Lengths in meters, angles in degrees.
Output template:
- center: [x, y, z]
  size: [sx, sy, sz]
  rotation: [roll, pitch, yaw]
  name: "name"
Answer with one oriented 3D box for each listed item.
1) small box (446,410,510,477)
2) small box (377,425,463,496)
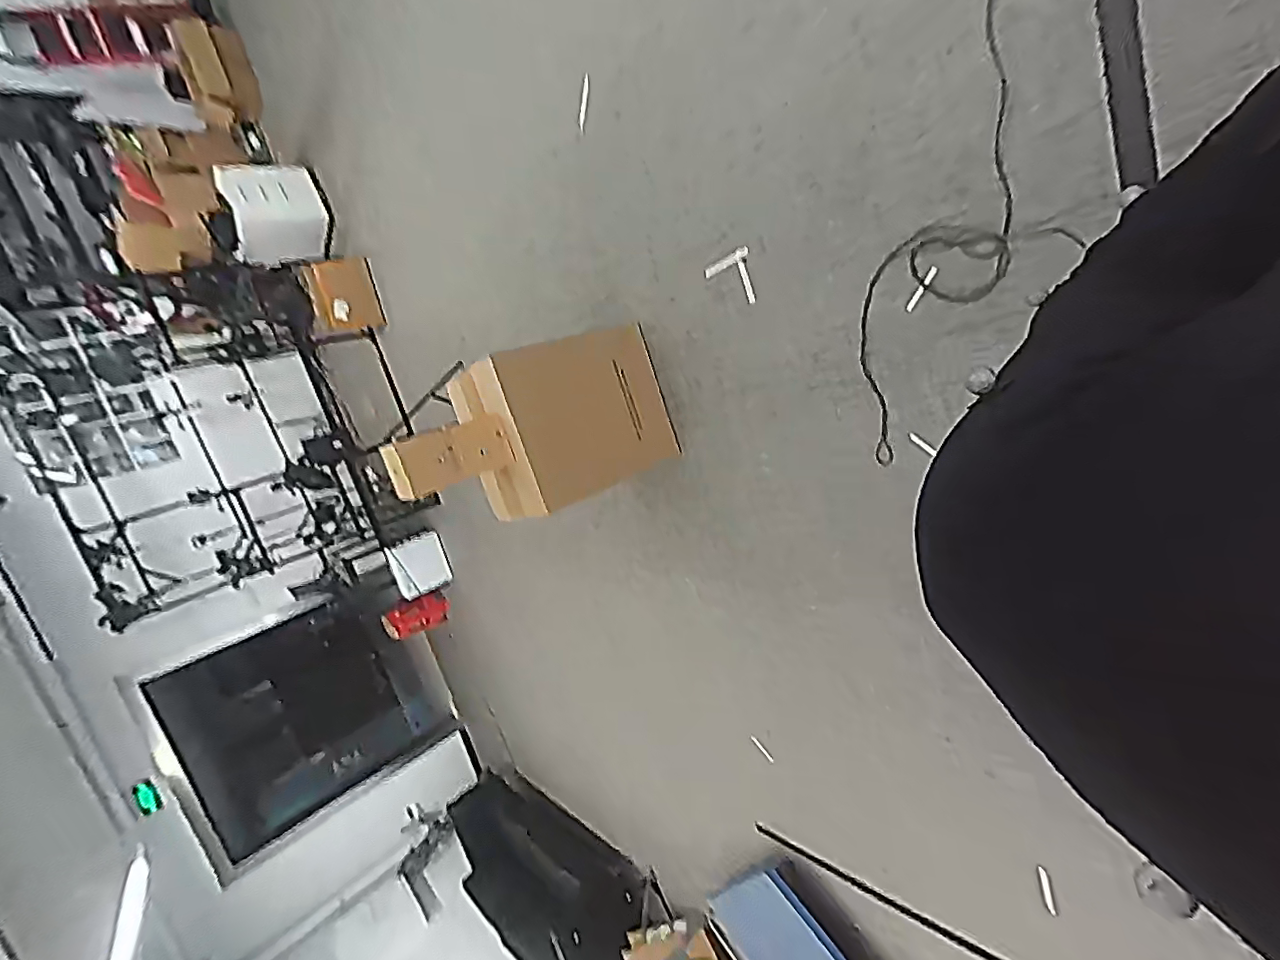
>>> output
- center: [-0.533, -0.113, 1.714]
  size: [0.179, 0.176, 0.168]
  rotation: [-5, 106, 52]
  name: "small box"
- center: [-0.658, -0.058, 1.621]
  size: [0.179, 0.176, 0.168]
  rotation: [-2, 110, 51]
  name: "small box"
